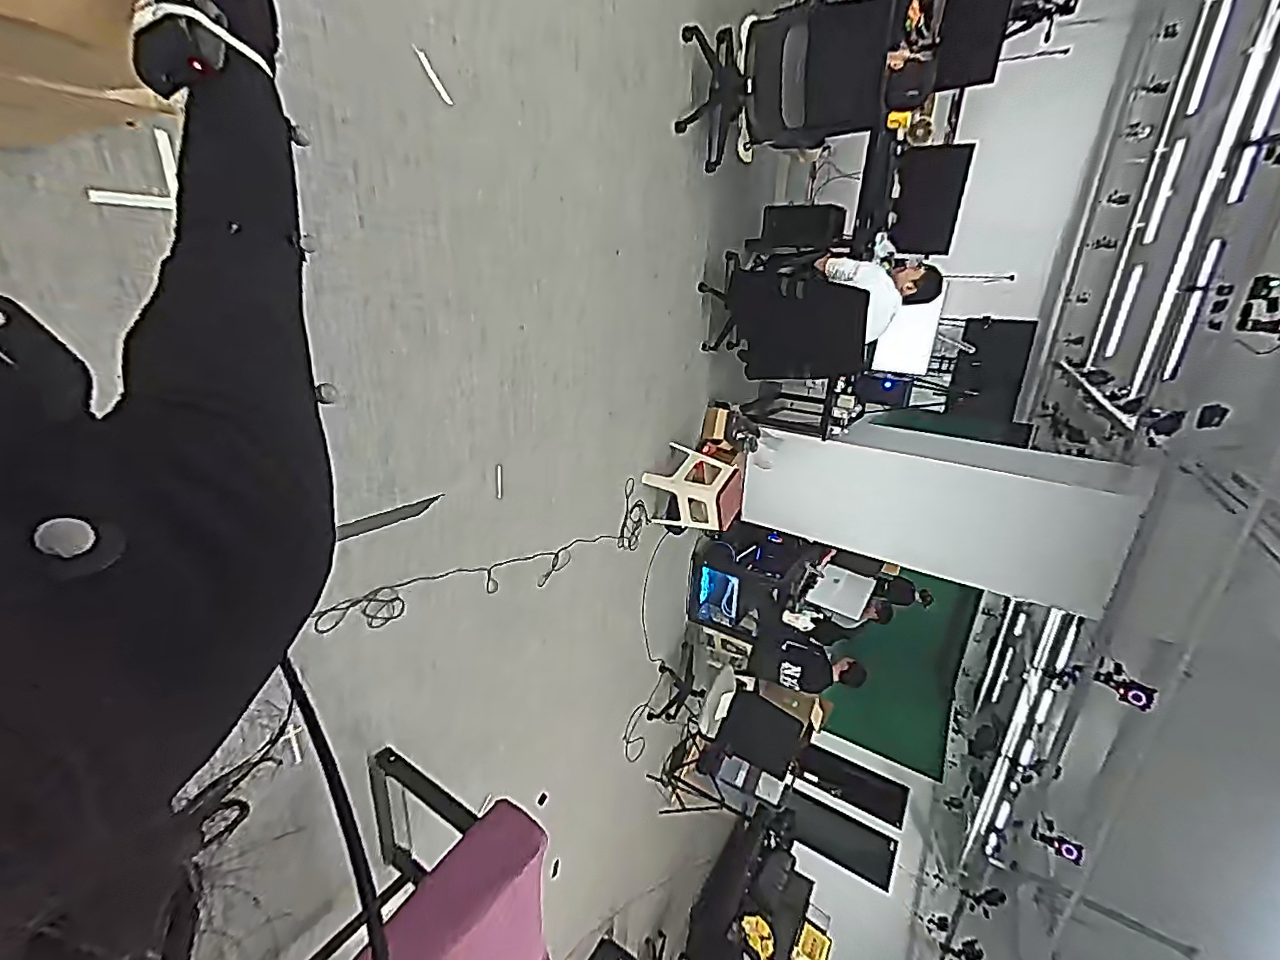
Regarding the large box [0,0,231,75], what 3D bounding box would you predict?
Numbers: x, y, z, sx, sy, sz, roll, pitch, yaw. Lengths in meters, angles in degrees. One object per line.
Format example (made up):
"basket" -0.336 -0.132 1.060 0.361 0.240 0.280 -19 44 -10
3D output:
"large box" -0.575 -0.504 0.337 0.408 0.320 0.320 -24 131 -54
